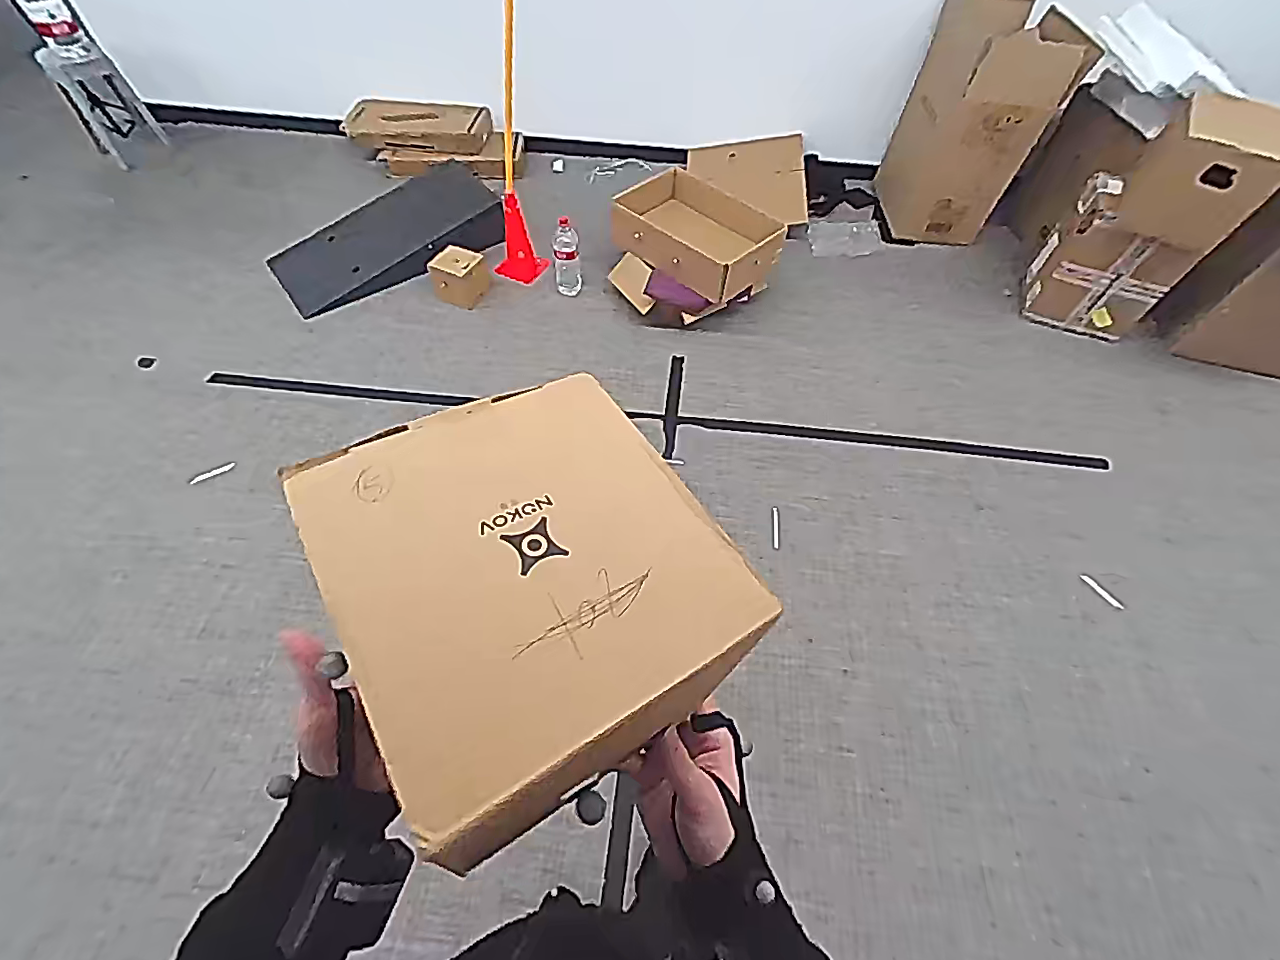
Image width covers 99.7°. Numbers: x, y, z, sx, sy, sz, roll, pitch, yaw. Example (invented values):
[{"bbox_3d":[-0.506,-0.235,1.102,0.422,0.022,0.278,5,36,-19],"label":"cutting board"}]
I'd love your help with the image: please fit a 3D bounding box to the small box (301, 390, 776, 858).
[{"bbox_3d":[-0.061,0.083,0.317,0.168,0.176,0.179,-26,62,-28],"label":"small box"}]
